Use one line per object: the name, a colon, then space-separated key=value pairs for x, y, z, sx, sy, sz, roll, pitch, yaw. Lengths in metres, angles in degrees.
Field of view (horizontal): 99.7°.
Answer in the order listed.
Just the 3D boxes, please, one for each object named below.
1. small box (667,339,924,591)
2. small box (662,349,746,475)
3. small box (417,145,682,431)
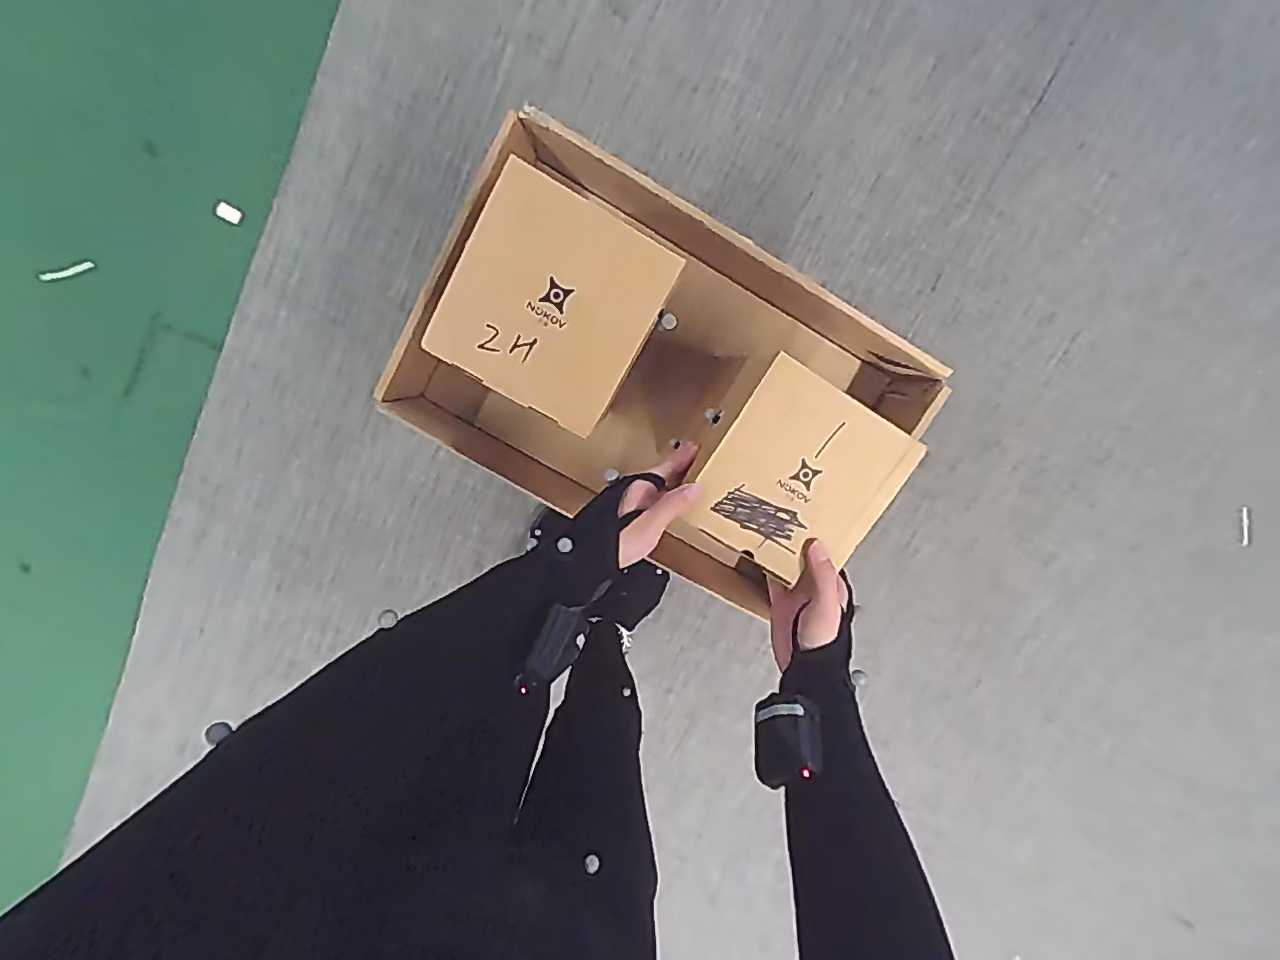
small box: x=0.140 y=-0.023 z=0.561 sx=0.168 sy=0.176 sz=0.179 roll=32 pitch=99 yaw=-7
small box: x=0.138 y=-0.057 z=0.723 sx=0.168 sy=0.176 sz=0.179 roll=31 pitch=101 yaw=-7
small box: x=-0.079 y=-0.170 z=0.528 sx=0.168 sy=0.176 sz=0.179 roll=29 pitch=100 yaw=-6
